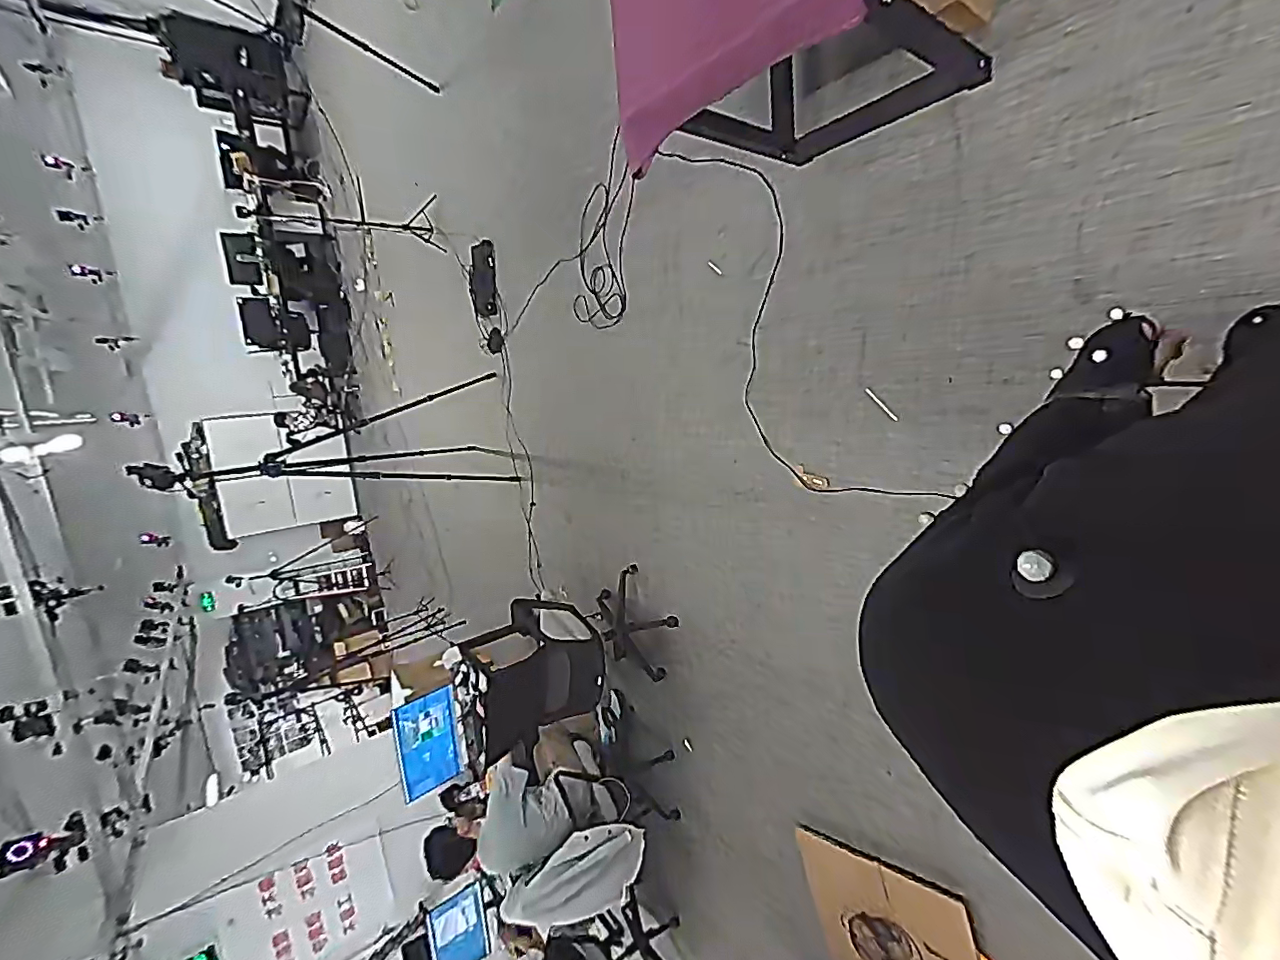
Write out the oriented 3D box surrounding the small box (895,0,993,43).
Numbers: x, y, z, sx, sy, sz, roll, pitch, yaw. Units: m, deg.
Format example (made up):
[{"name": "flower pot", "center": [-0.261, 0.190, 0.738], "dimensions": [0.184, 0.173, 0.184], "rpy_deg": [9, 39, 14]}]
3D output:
[{"name": "small box", "center": [0.750, -1.215, 1.324], "dimensions": [0.168, 0.176, 0.179], "rpy_deg": [13, 112, 51]}]
